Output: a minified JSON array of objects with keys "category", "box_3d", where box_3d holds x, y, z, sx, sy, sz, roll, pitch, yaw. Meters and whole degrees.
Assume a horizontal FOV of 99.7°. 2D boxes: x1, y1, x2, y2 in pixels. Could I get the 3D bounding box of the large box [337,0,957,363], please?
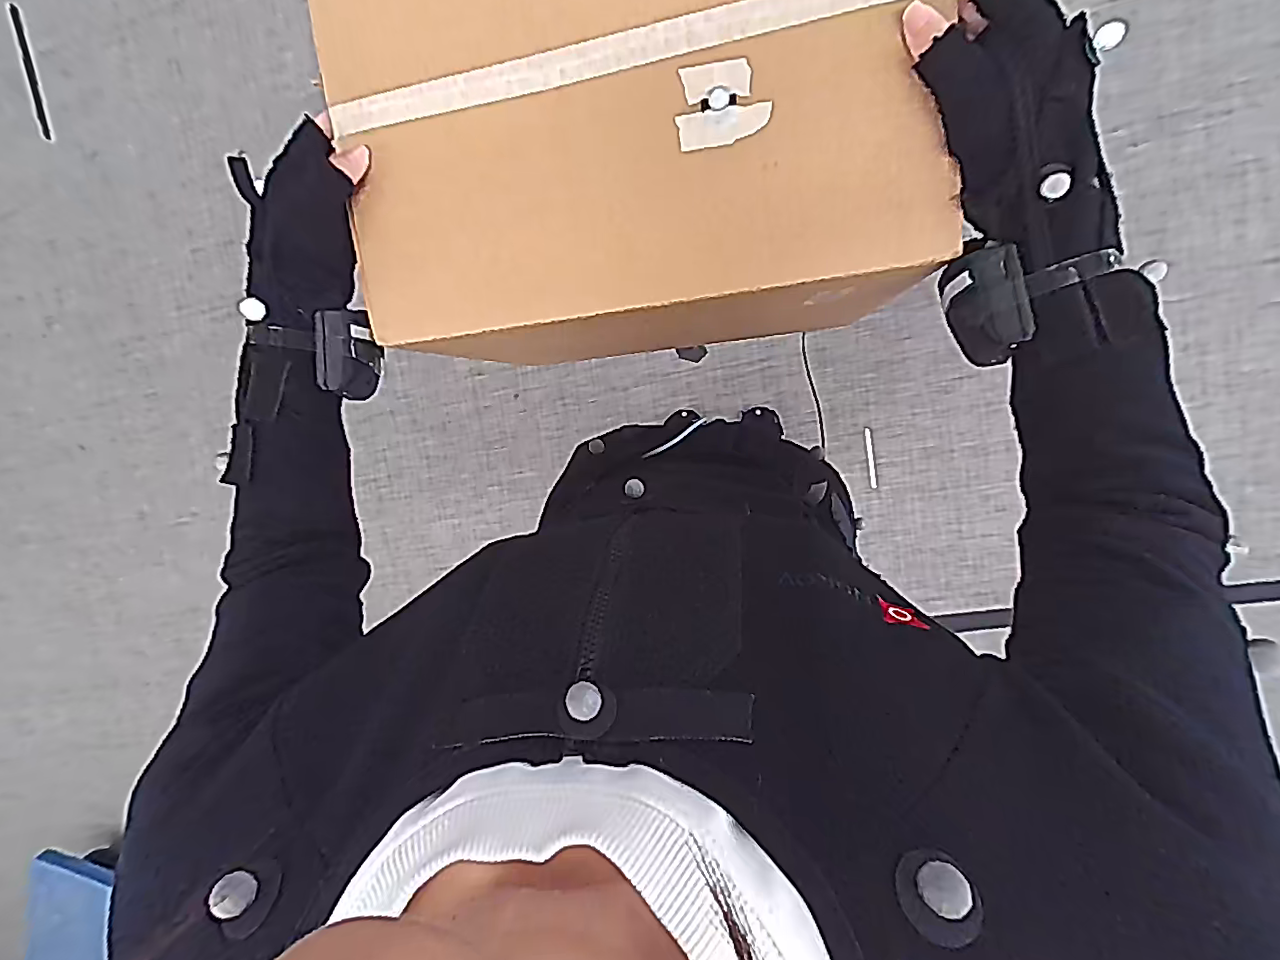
[{"category":"large box","box_3d":[0.011,-0.301,0.505,0.408,0.320,0.320,-6,98,10]}]
